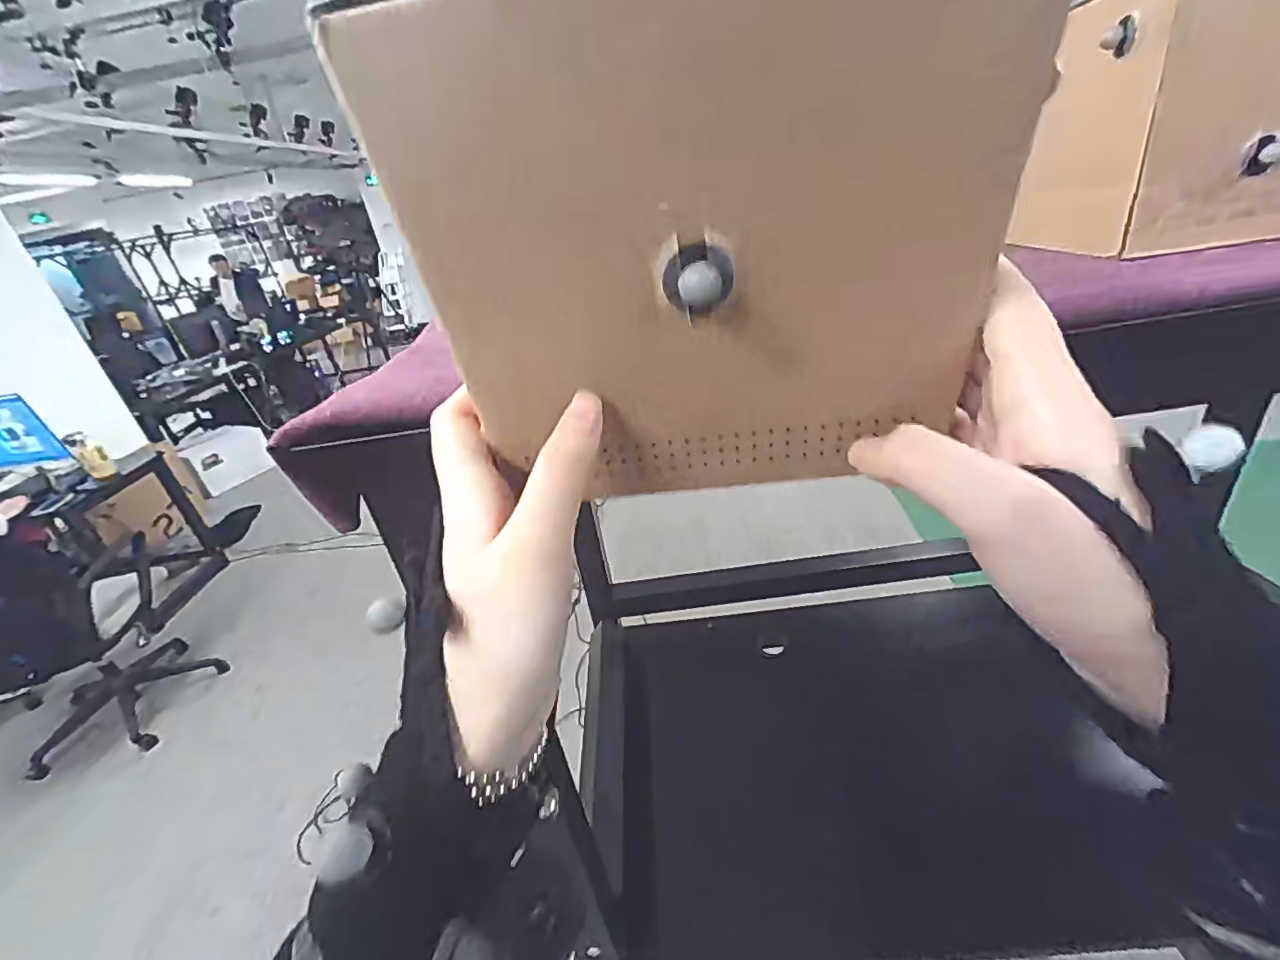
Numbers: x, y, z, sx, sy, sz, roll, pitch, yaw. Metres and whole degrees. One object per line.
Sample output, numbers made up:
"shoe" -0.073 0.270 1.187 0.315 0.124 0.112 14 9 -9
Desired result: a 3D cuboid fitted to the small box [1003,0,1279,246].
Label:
"small box" 0.399 -0.275 0.393 0.168 0.176 0.179 -6 28 8
